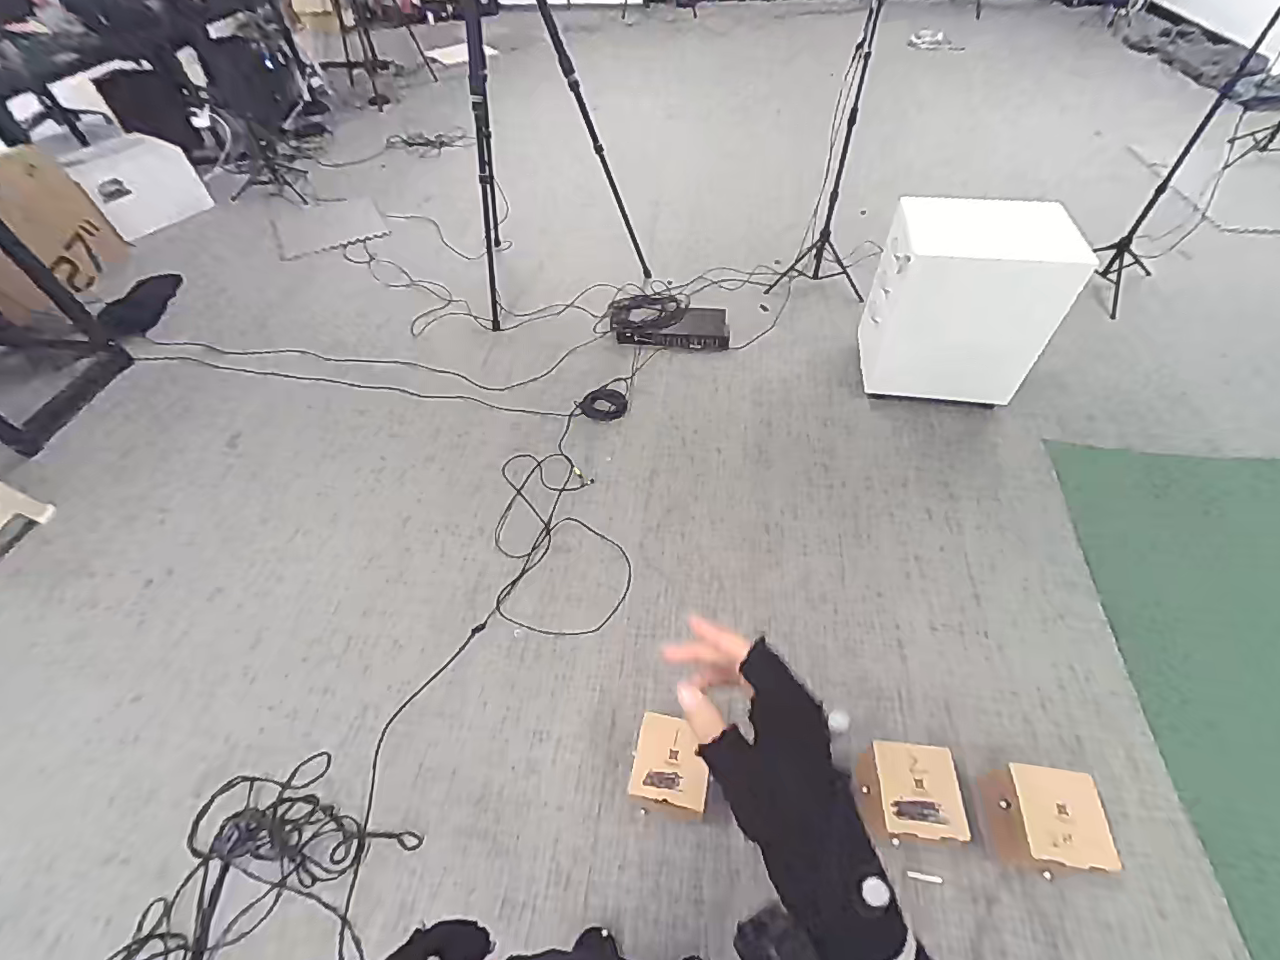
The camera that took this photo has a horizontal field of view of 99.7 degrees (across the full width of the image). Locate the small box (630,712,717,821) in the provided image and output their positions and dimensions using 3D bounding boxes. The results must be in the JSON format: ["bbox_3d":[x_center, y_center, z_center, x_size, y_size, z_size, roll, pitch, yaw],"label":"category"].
[{"bbox_3d":[0.082,0.670,1.257,0.168,0.176,0.179,9,51,10],"label":"small box"}]

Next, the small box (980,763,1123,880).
[{"bbox_3d":[0.865,0.735,1.162,0.168,0.176,0.179,5,52,8],"label":"small box"}]
